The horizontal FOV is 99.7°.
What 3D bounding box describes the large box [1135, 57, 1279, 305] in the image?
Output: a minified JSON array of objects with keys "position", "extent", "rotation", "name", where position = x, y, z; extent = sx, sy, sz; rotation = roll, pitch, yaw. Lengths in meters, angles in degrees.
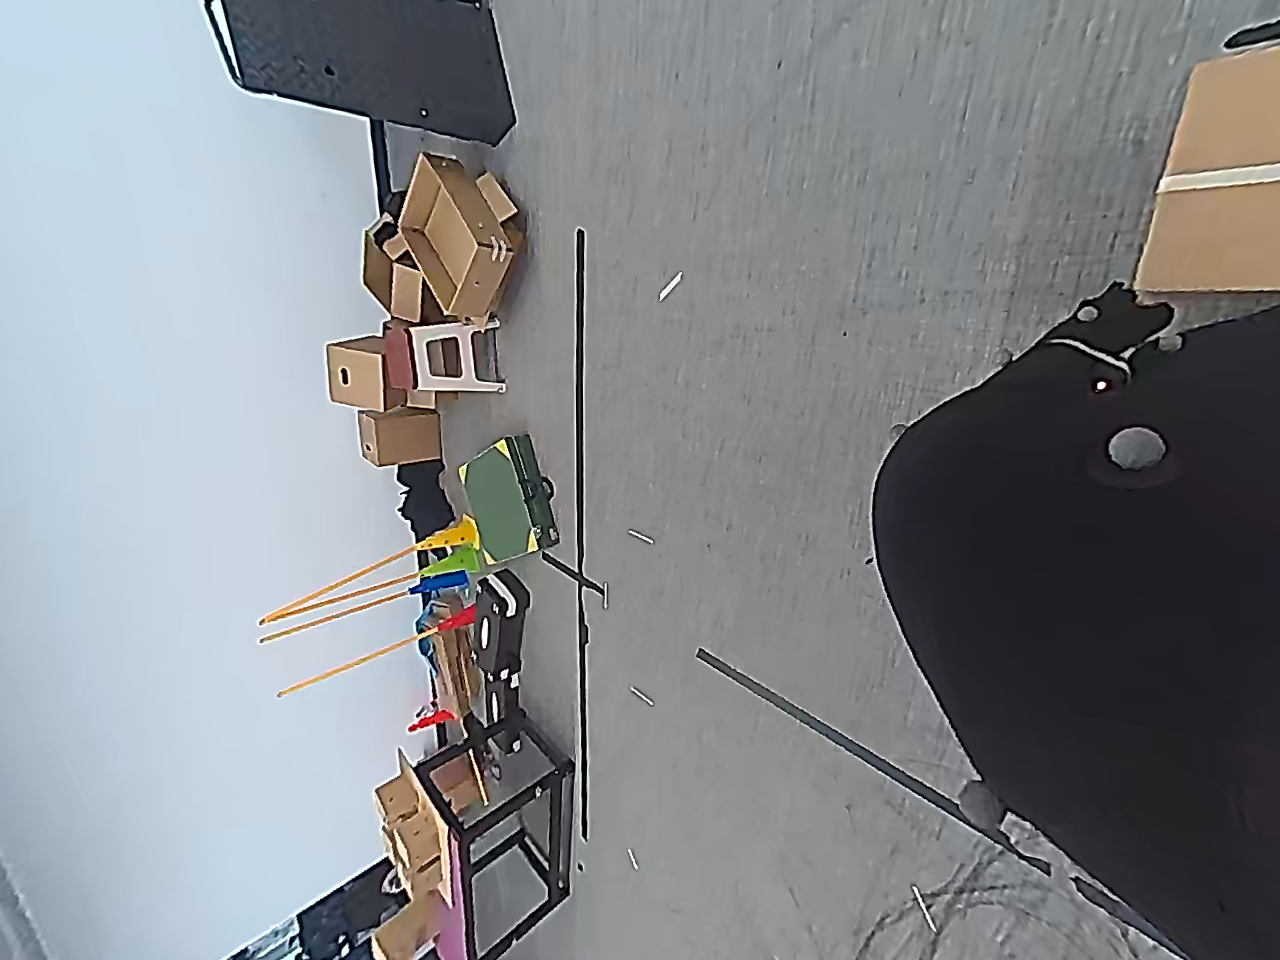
[{"position":[1.047,-0.430,0.802],"extent":[0.408,0.320,0.320],"rotation":[18,114,42],"name":"large box"}]
